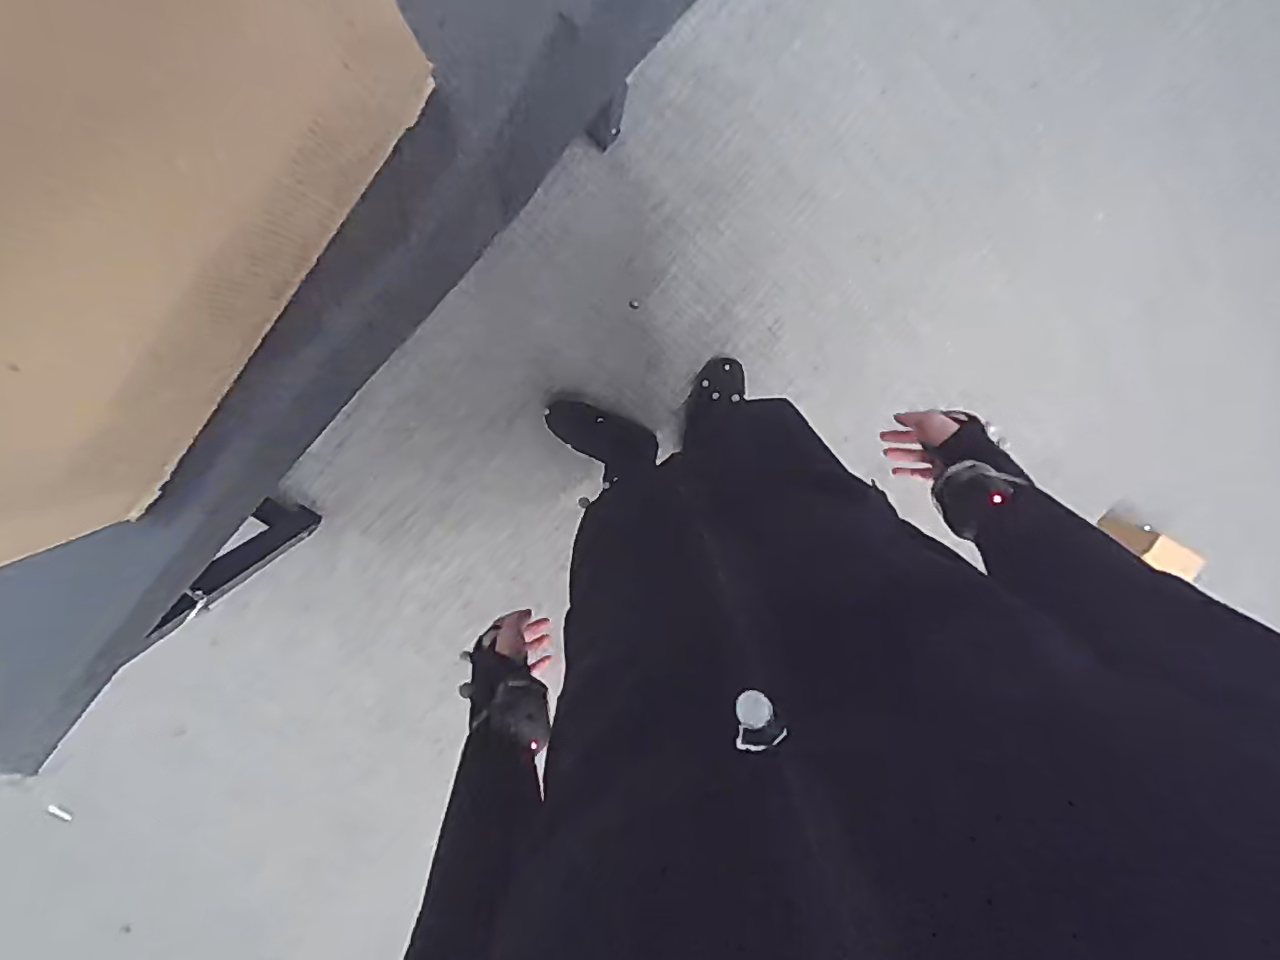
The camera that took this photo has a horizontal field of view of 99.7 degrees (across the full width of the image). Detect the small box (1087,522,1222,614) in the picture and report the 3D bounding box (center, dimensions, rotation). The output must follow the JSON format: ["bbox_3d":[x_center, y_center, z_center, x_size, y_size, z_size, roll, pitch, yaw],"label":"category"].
[{"bbox_3d":[1.391,0.232,1.476,0.179,0.176,0.168,24,100,-12],"label":"small box"}]
